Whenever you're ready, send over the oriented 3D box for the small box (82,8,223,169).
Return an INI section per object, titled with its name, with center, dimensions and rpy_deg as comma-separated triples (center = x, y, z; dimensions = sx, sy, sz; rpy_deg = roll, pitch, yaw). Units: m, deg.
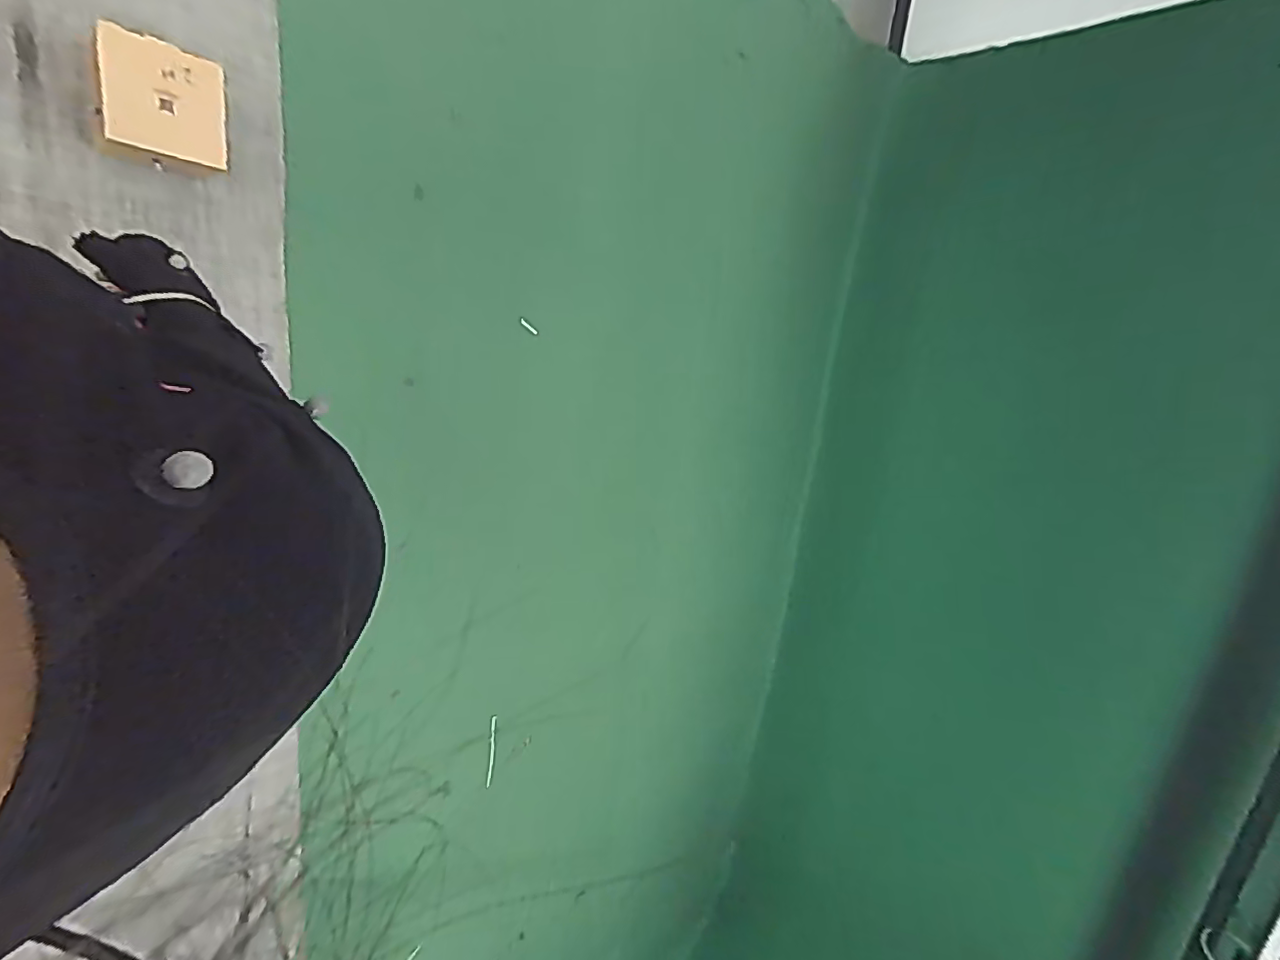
[small box]
center = -0.870, -0.680, 0.969
dimensions = 0.168, 0.176, 0.179
rpy_deg = -8, 111, -49
